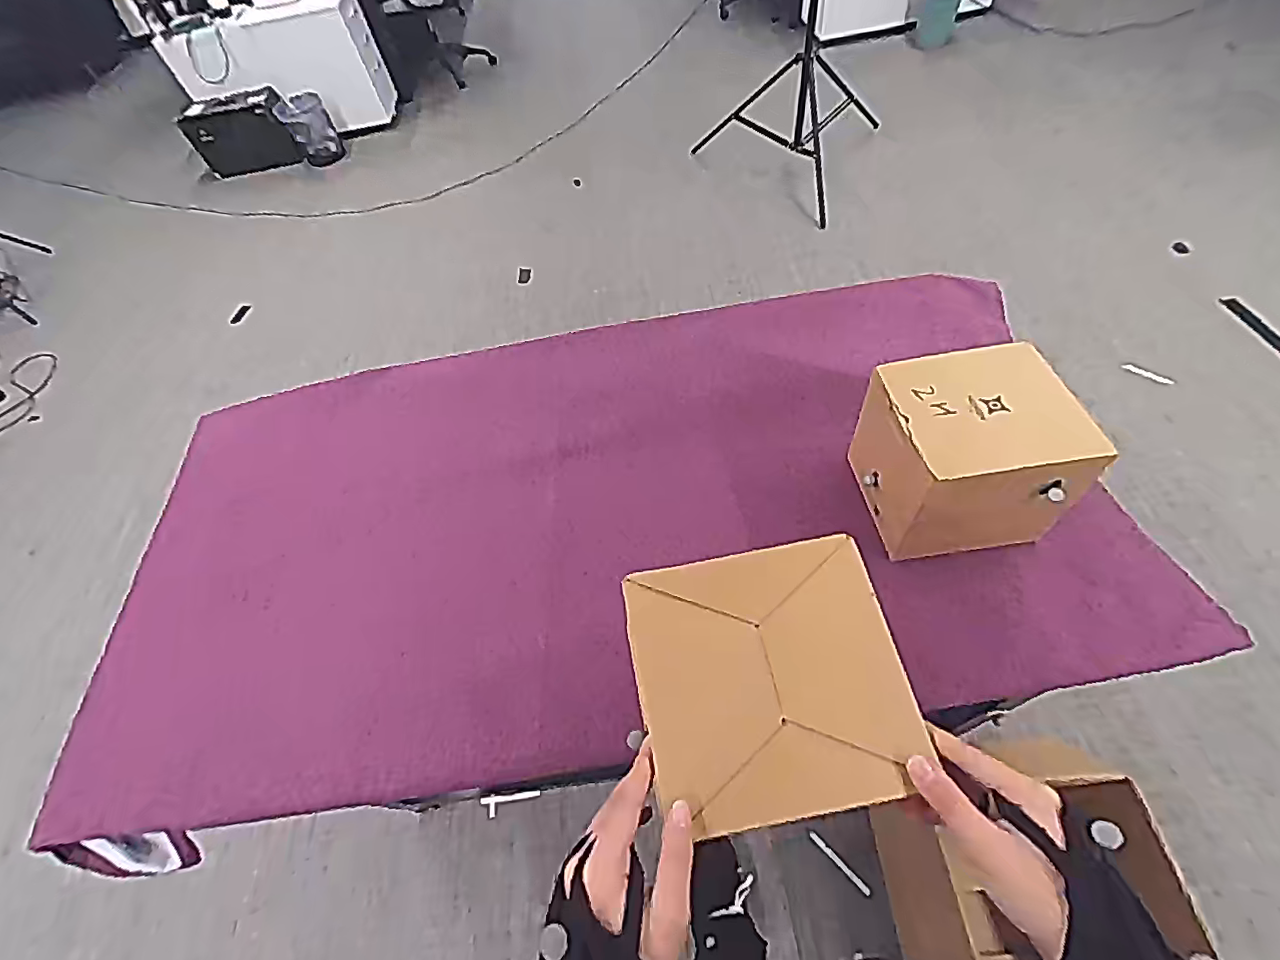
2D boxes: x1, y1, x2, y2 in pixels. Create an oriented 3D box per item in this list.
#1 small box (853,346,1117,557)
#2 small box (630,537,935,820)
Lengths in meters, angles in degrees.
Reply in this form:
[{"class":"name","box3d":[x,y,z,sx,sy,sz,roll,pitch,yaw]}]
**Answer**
[{"class":"small box","box3d":[0.371,-0.027,0.626,0.179,0.176,0.168,-8,53,2]},{"class":"small box","box3d":[0.090,0.159,0.434,0.179,0.176,0.168,-10,63,-4]}]
